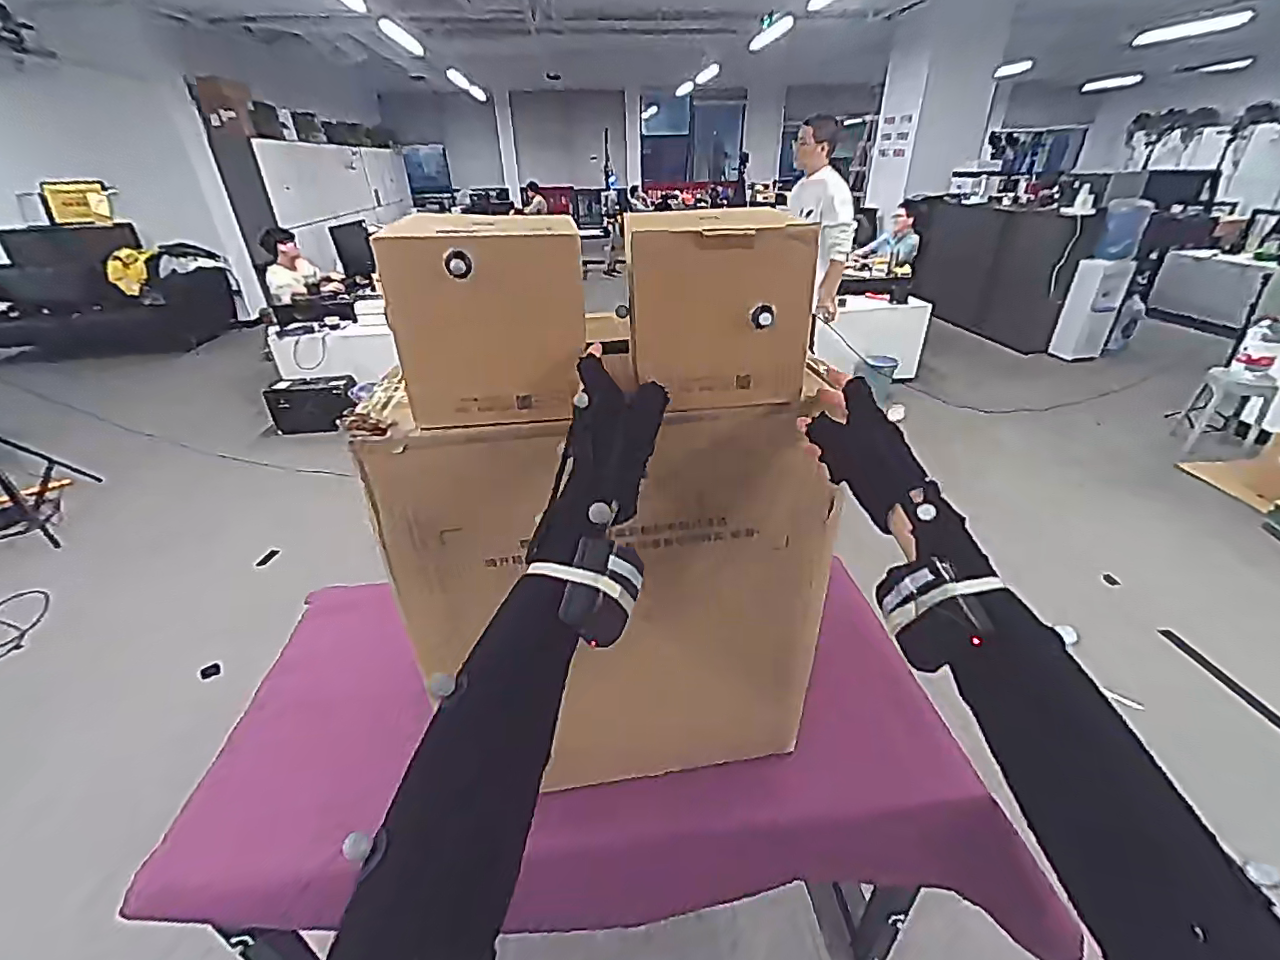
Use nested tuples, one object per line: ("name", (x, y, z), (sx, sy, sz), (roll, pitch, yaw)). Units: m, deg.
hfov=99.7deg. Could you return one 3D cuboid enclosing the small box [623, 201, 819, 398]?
("small box", (0.071, -0.189, 0.567), (0.168, 0.176, 0.179), (-3, 30, -3))
